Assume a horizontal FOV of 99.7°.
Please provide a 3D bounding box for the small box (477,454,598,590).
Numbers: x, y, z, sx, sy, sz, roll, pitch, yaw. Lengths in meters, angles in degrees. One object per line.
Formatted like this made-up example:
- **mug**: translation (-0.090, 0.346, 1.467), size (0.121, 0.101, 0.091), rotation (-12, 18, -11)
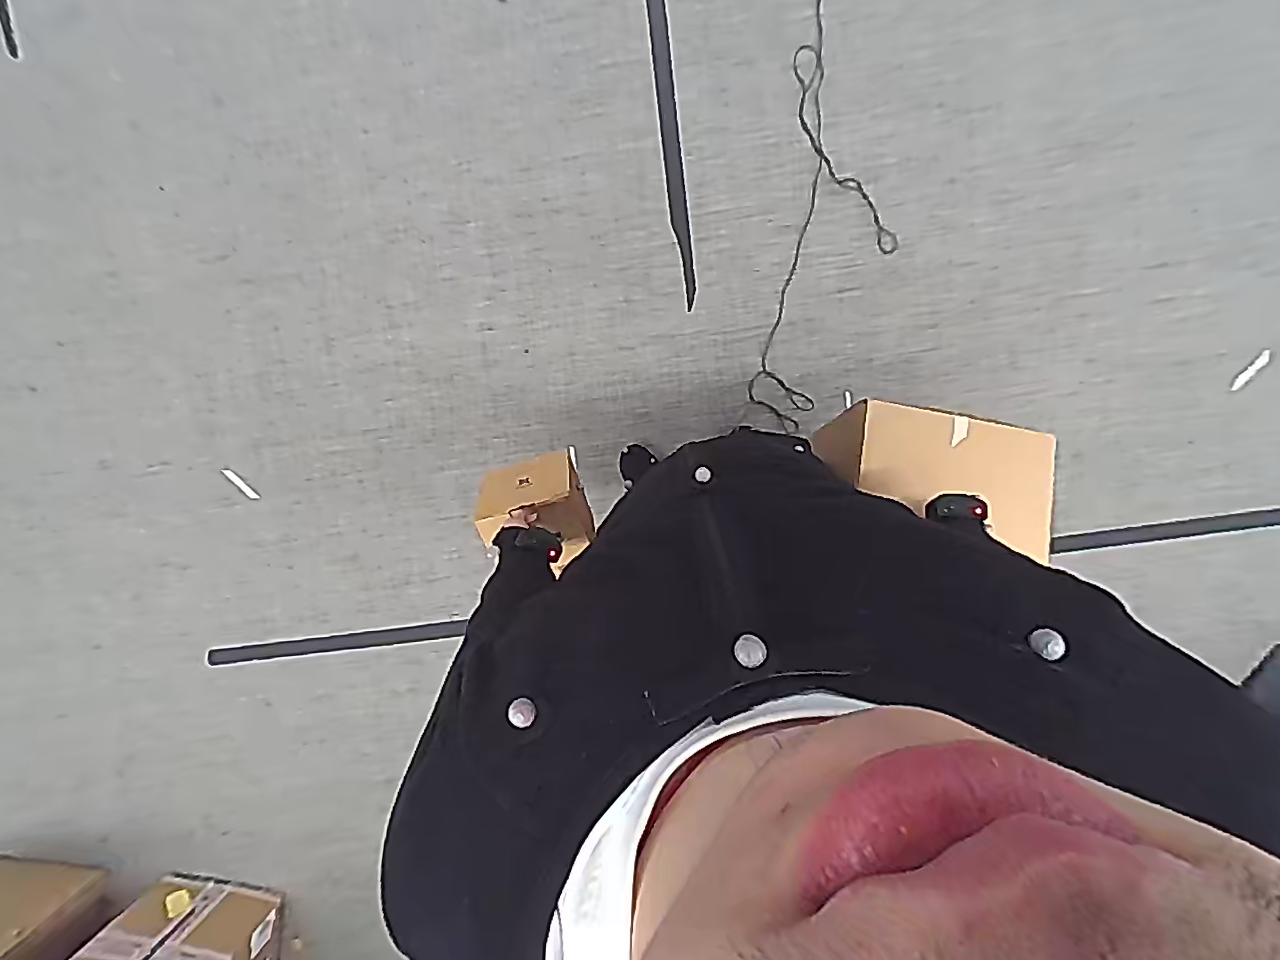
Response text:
- **small box**: translation (-0.179, 0.081, 0.989), size (0.168, 0.179, 0.176), rotation (-17, 117, 0)
